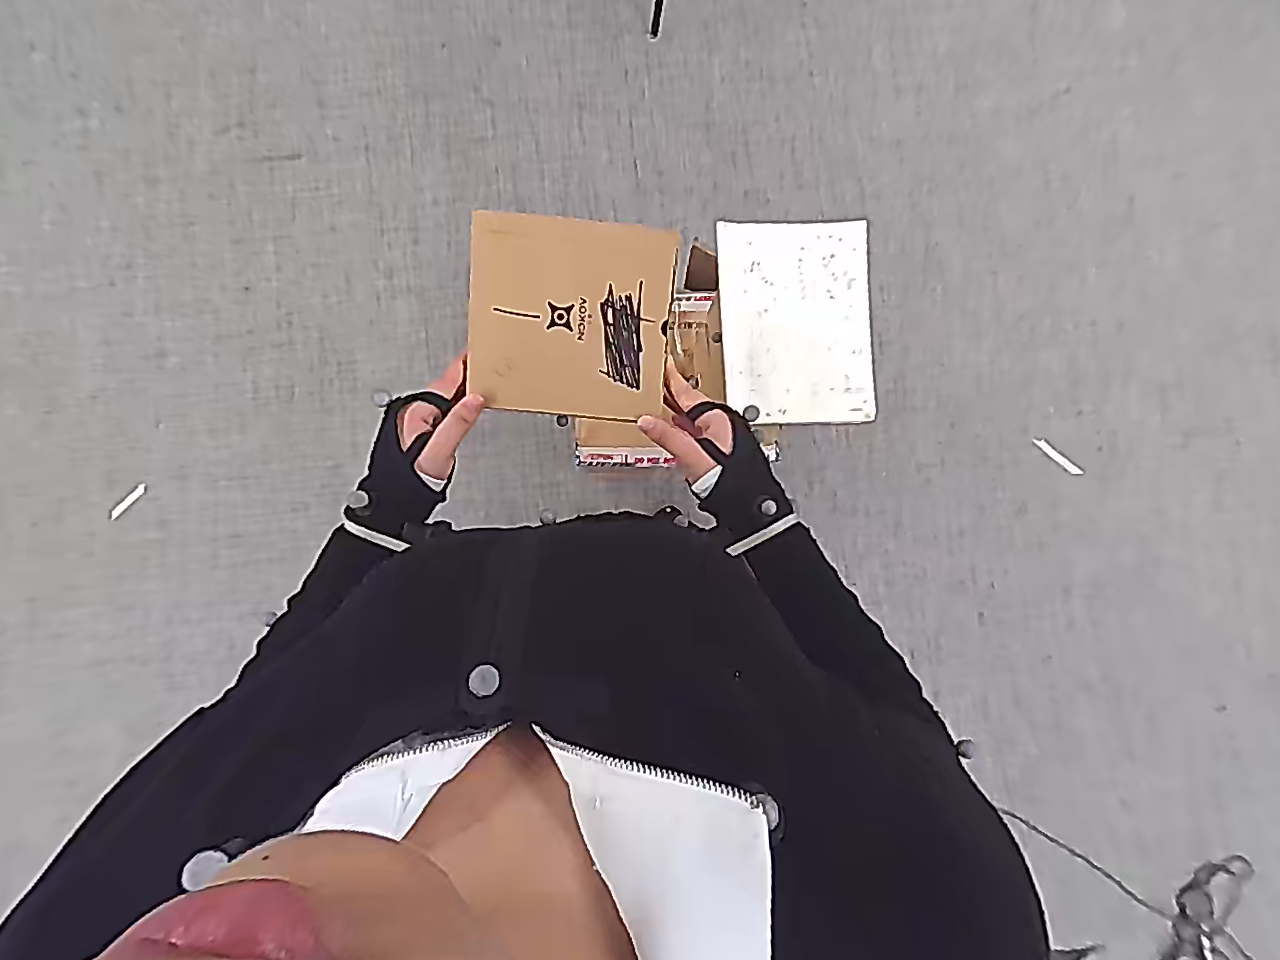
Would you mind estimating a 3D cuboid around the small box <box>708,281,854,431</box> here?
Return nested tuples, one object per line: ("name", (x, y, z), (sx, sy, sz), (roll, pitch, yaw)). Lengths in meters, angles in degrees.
("small box", (0.200, -0.177, 0.813), (0.168, 0.176, 0.179), (-5, 87, -2))

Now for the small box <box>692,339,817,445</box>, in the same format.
("small box", (0.198, -0.160, 0.976), (0.179, 0.176, 0.168), (-7, 87, -1))

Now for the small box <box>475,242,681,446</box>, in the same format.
("small box", (-0.060, -0.134, 0.564), (0.179, 0.176, 0.168), (5, 100, -2))
